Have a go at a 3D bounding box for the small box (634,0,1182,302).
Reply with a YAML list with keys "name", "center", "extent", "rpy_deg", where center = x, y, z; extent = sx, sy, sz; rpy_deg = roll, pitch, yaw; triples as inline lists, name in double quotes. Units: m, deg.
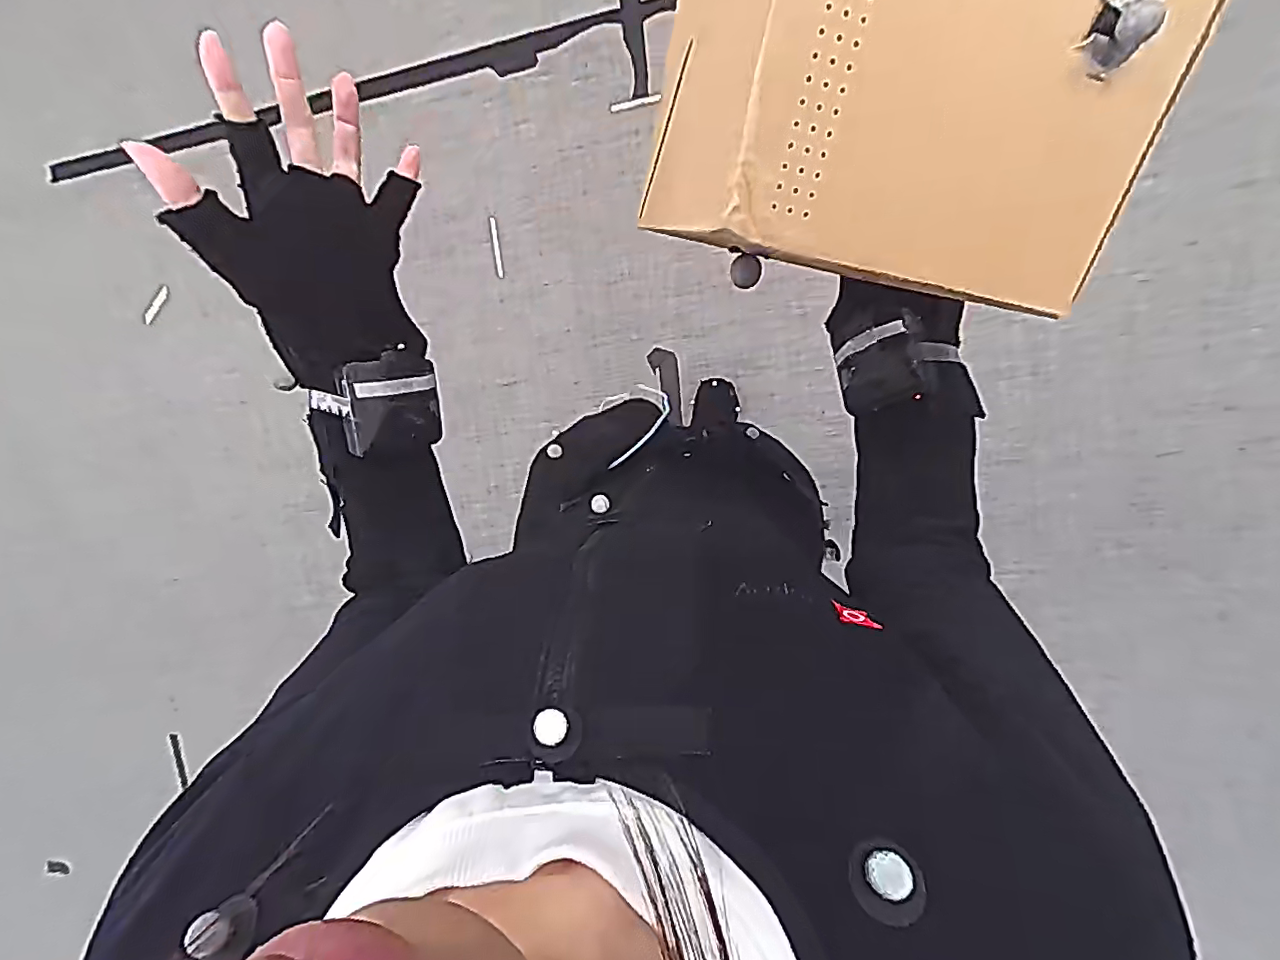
- name: "small box"
  center: [0.104, -0.199, 0.264]
  extent: [0.176, 0.168, 0.179]
  rpy_deg: [6, 114, -14]
